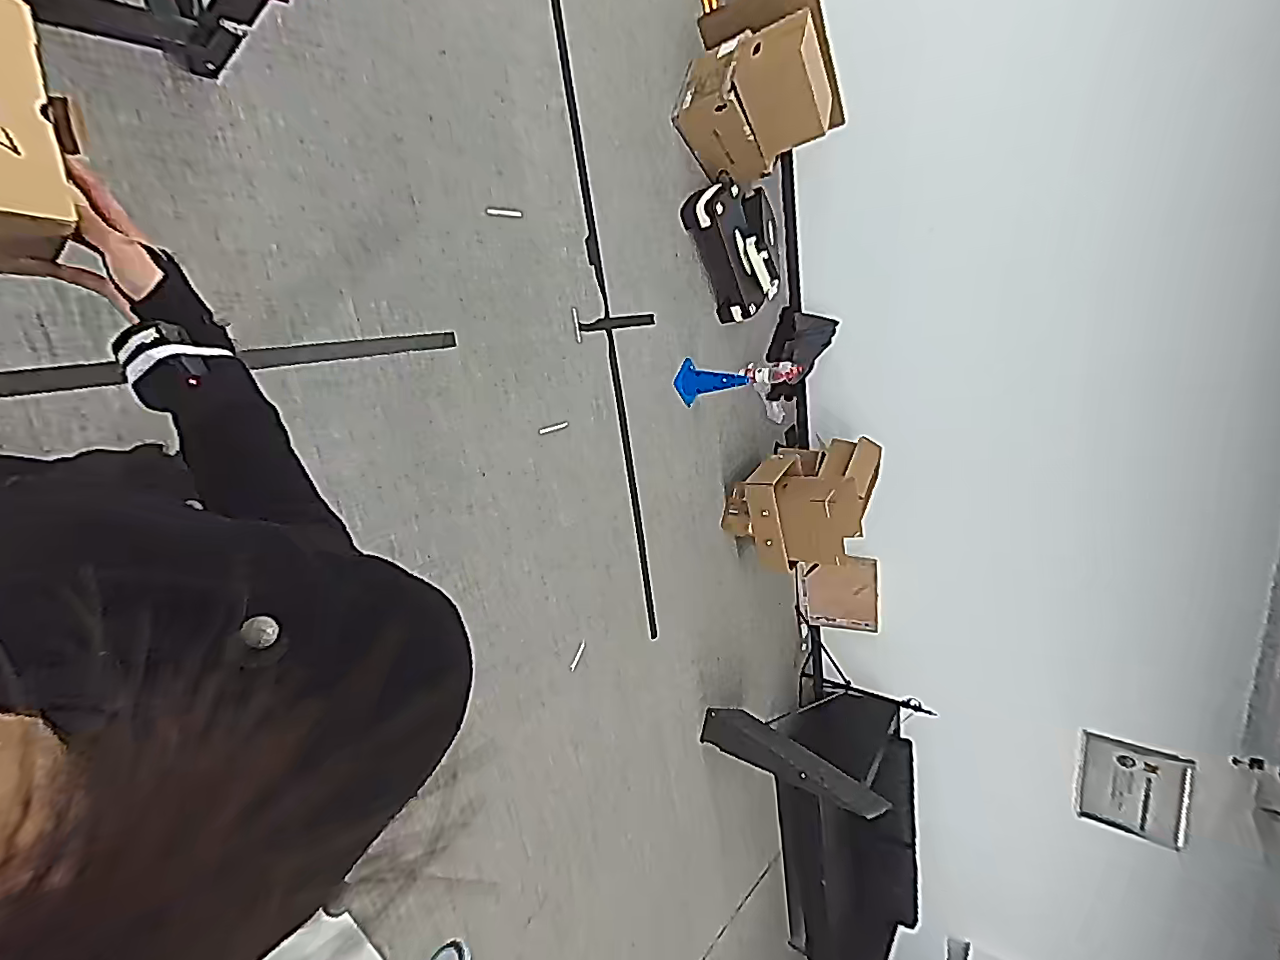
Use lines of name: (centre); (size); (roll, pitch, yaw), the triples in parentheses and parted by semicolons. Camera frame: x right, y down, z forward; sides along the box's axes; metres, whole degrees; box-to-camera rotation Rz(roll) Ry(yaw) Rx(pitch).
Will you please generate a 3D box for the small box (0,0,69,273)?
small box: (-0.575, -0.266, 0.400); (0.179, 0.176, 0.168); (-16, 100, -53)
